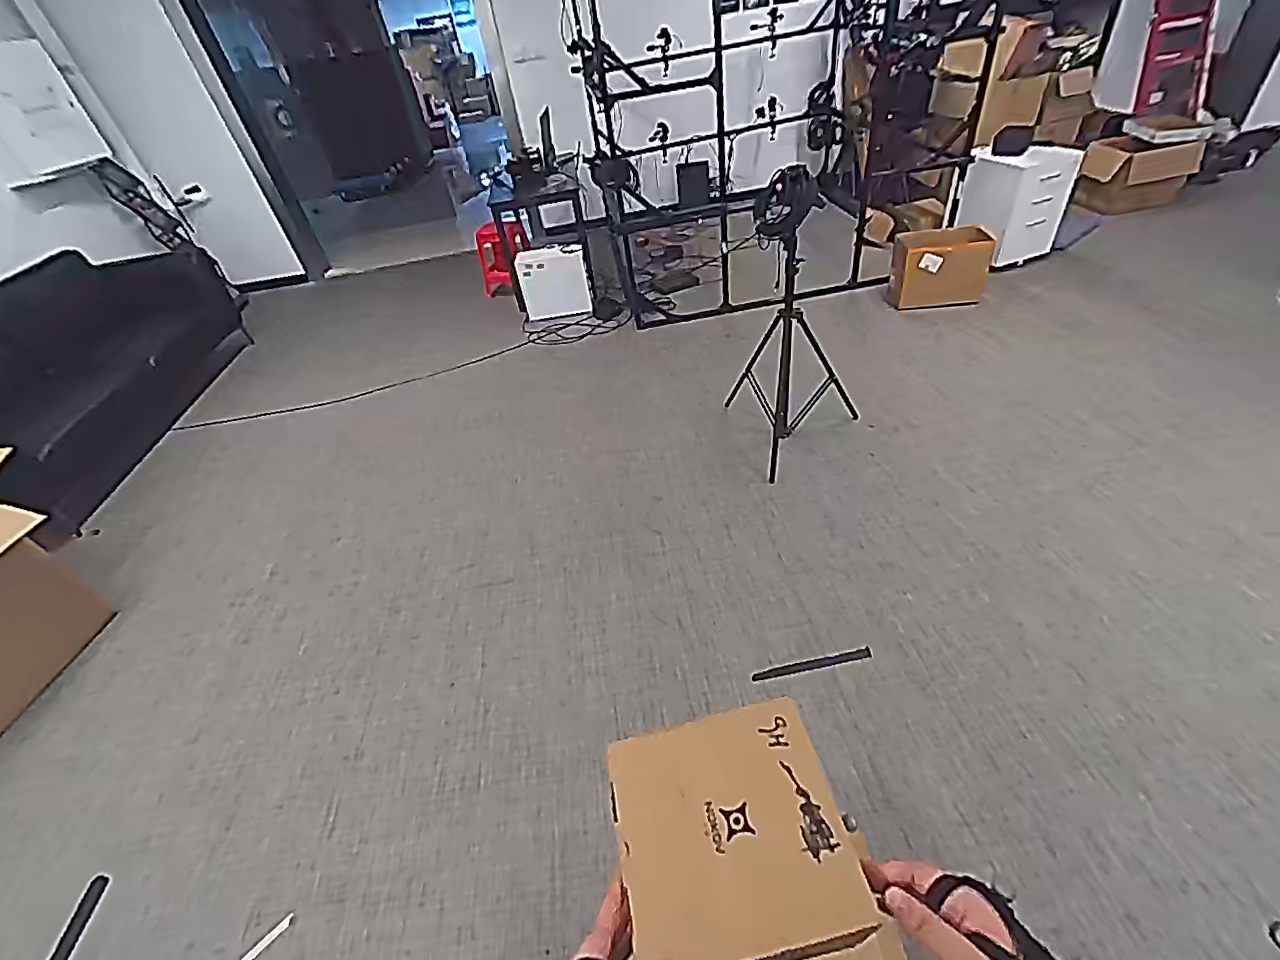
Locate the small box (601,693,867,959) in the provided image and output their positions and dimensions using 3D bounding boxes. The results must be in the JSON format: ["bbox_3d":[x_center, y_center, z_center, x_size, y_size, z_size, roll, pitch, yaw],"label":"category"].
[{"bbox_3d":[0.077,0.324,0.485,0.179,0.176,0.168,-15,45,-1],"label":"small box"}]
